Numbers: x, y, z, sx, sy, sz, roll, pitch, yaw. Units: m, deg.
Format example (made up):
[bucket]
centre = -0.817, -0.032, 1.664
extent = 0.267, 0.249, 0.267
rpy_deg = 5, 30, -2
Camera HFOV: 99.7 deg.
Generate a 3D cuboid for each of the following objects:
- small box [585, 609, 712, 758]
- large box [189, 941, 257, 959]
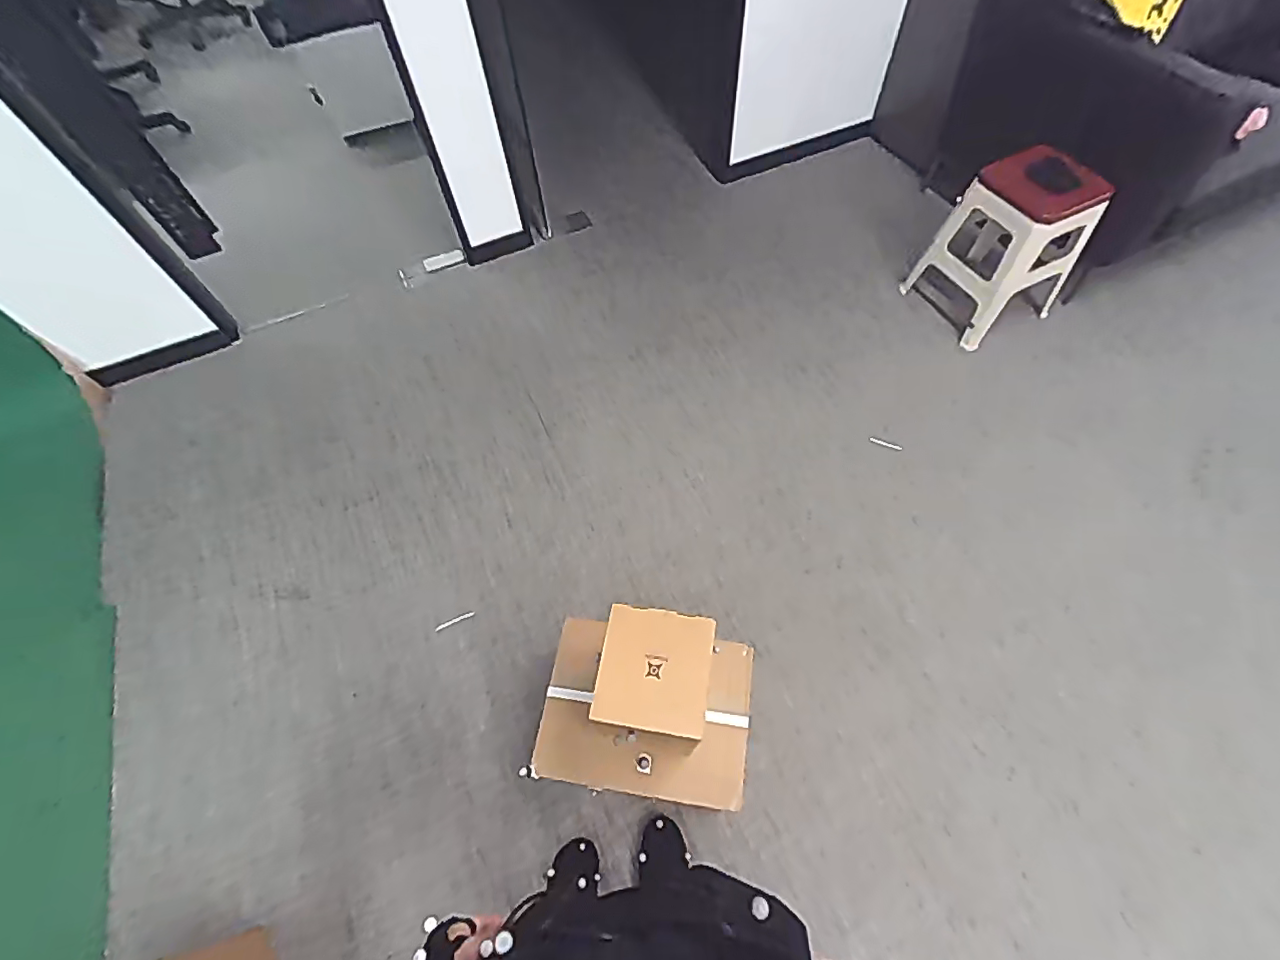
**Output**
[small box]
centre = 0.019, 0.328, 0.860
extent = 0.168, 0.176, 0.179
rpy_deg = 7, 57, 7
[large box]
centre = -0.887, 1.105, 0.898
extent = 0.408, 0.320, 0.320
rpy_deg = -36, 62, -17
